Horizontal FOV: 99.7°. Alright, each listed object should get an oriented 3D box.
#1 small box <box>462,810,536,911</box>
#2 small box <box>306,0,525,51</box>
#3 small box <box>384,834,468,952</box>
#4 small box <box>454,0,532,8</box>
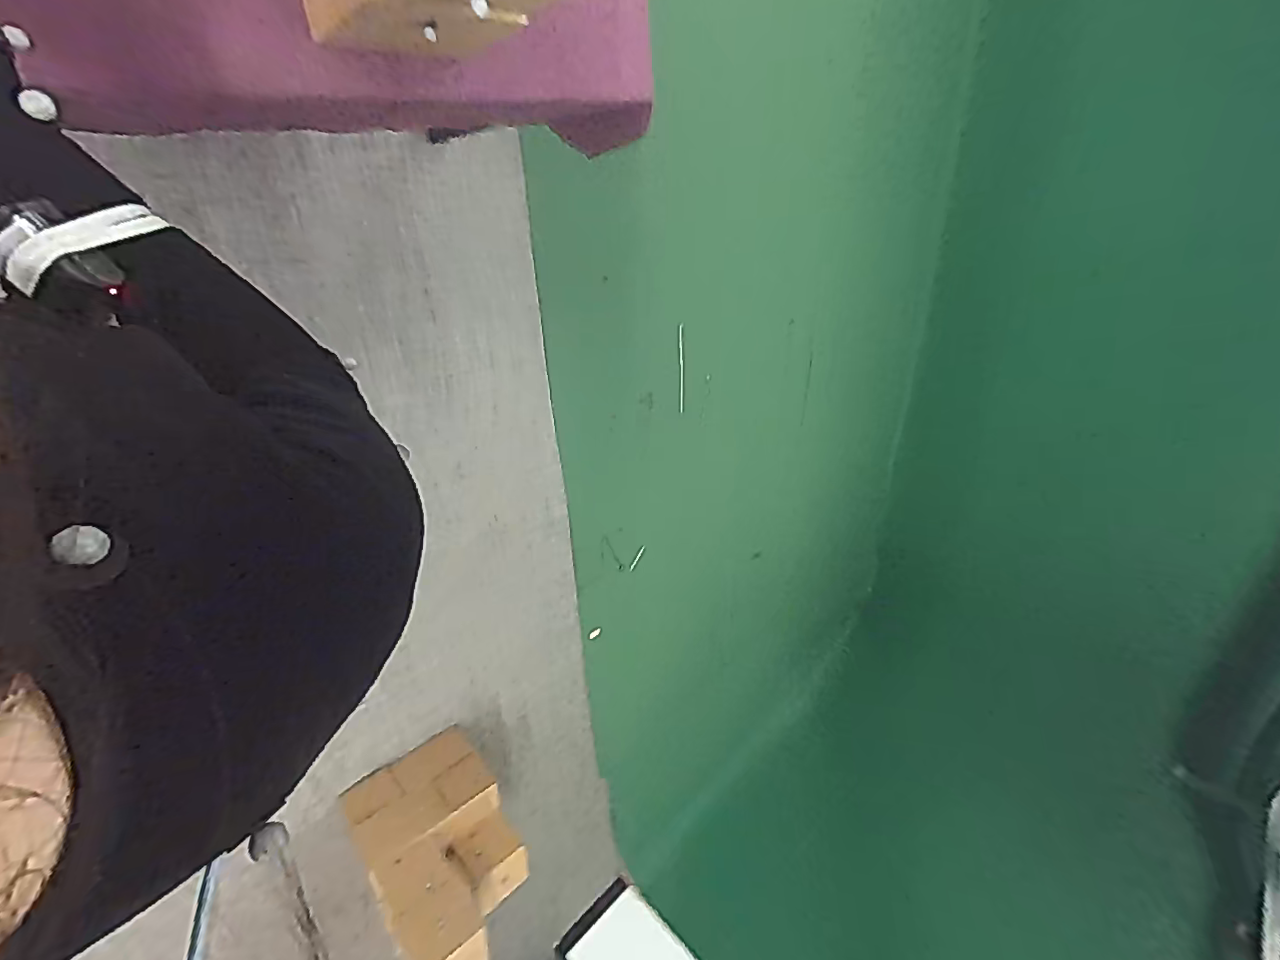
[{"bbox_3d":[-0.455,1.207,1.733,0.168,0.176,0.179,-22,124,-38],"label":"small box"},{"bbox_3d":[-0.246,-0.562,0.549,0.179,0.176,0.168,-27,125,-36],"label":"small box"},{"bbox_3d":[-0.613,1.173,1.549,0.168,0.176,0.179,-19,122,-39],"label":"small box"},{"bbox_3d":[-0.135,-0.522,0.435,0.168,0.176,0.179,-29,127,-34],"label":"small box"}]
